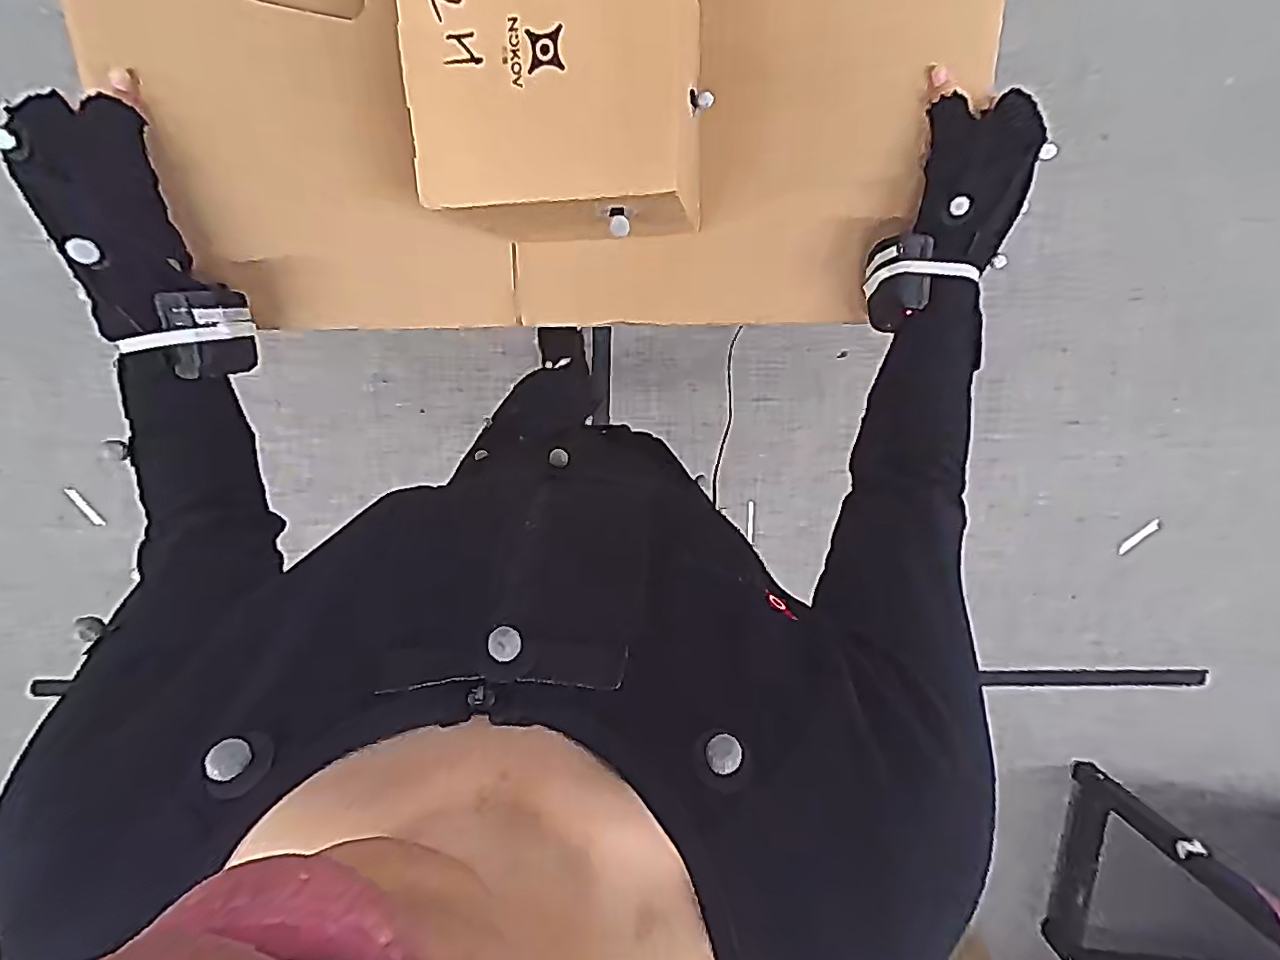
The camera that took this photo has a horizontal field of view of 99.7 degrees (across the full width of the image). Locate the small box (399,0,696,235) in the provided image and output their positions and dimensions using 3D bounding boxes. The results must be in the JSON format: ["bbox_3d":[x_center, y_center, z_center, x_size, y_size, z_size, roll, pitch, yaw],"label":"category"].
[{"bbox_3d":[-0.050,-0.288,0.408,0.179,0.176,0.168,2,106,11],"label":"small box"}]
